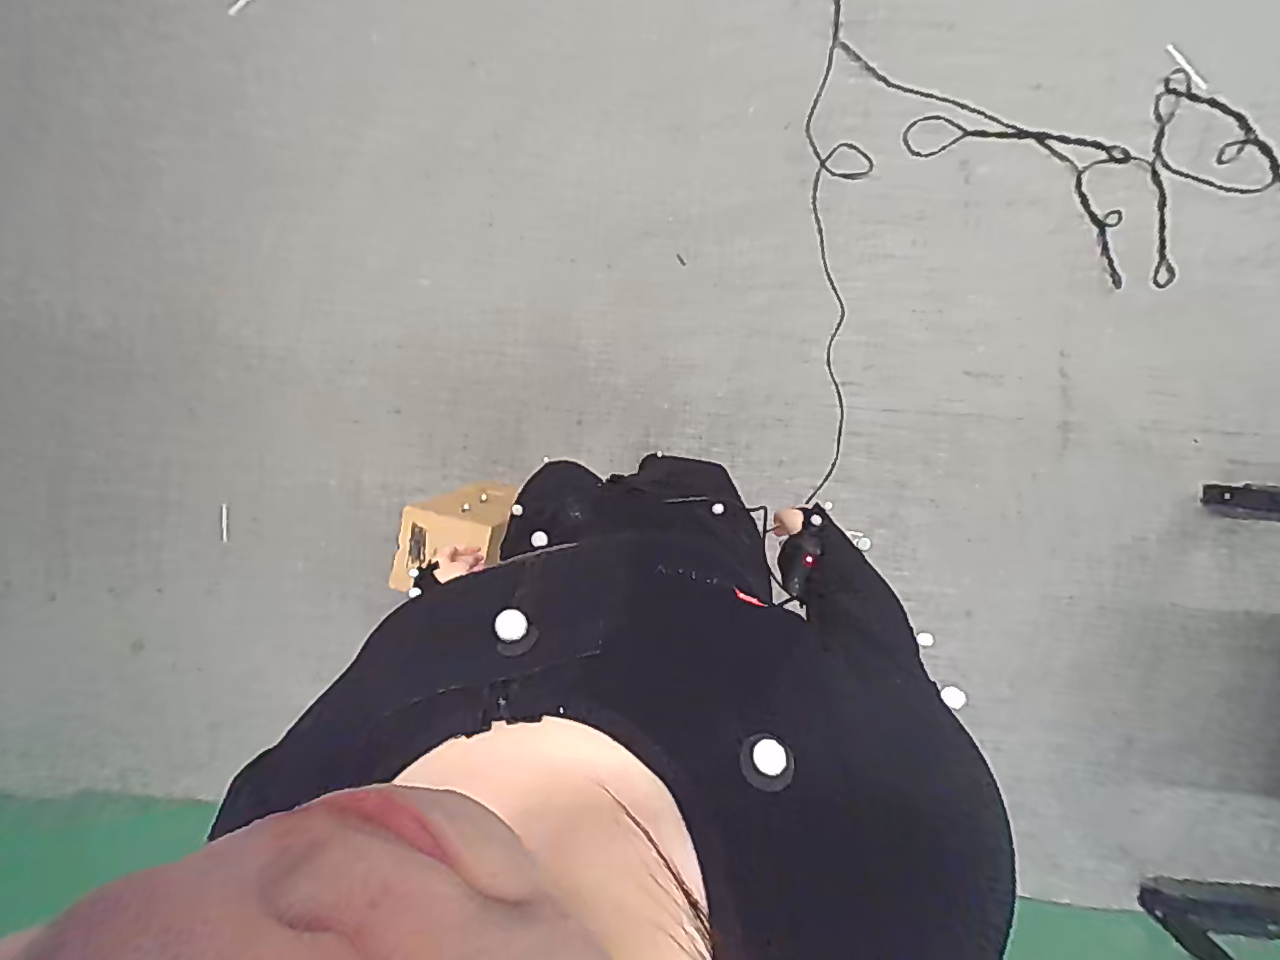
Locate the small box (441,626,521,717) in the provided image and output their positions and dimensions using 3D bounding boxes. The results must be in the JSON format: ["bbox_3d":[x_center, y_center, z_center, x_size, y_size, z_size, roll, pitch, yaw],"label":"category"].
[{"bbox_3d":[-0.433,0.513,1.473,0.179,0.176,0.168,9,96,2],"label":"small box"}]

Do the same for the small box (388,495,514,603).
[{"bbox_3d":[-0.377,0.131,1.105,0.179,0.176,0.168,14,96,1],"label":"small box"}]

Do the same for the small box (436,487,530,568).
[{"bbox_3d":[-0.376,0.114,1.268,0.179,0.176,0.168,12,96,2],"label":"small box"}]

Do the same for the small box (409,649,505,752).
[{"bbox_3d":[-0.442,0.525,1.311,0.179,0.176,0.168,5,97,2],"label":"small box"}]
